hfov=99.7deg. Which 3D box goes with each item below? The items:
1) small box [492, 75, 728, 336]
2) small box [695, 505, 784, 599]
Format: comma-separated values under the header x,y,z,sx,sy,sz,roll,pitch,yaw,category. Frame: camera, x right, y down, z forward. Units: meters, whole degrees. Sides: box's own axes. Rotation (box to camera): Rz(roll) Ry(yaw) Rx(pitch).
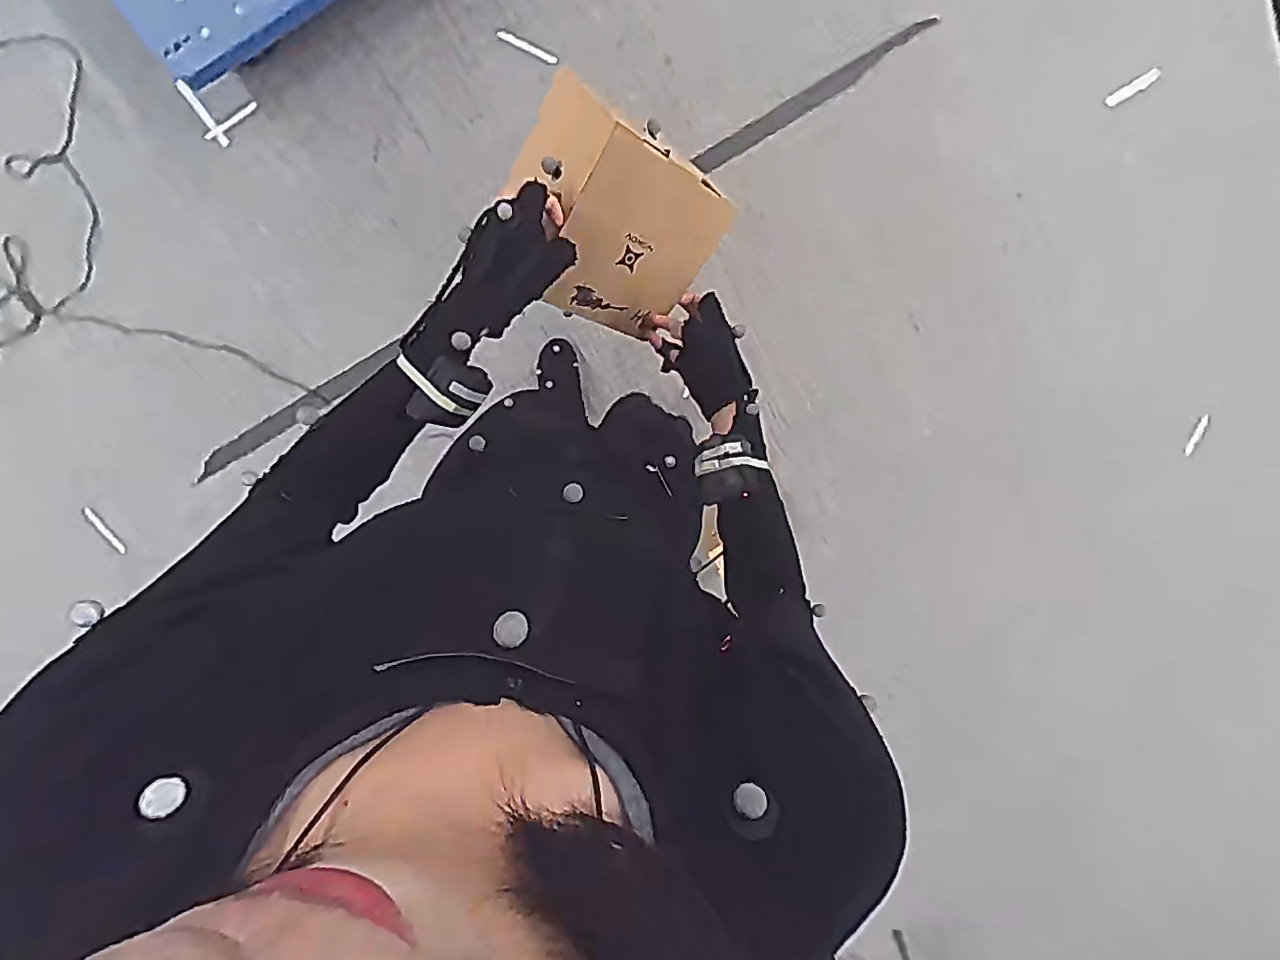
x,y,z,sx,sy,sz,roll,pitch,yaw,category
-0.044,-0.295,0.592,0.168,0.176,0.179,9,130,-39,small box
0.272,0.198,1.532,0.179,0.176,0.168,-34,105,2,small box
